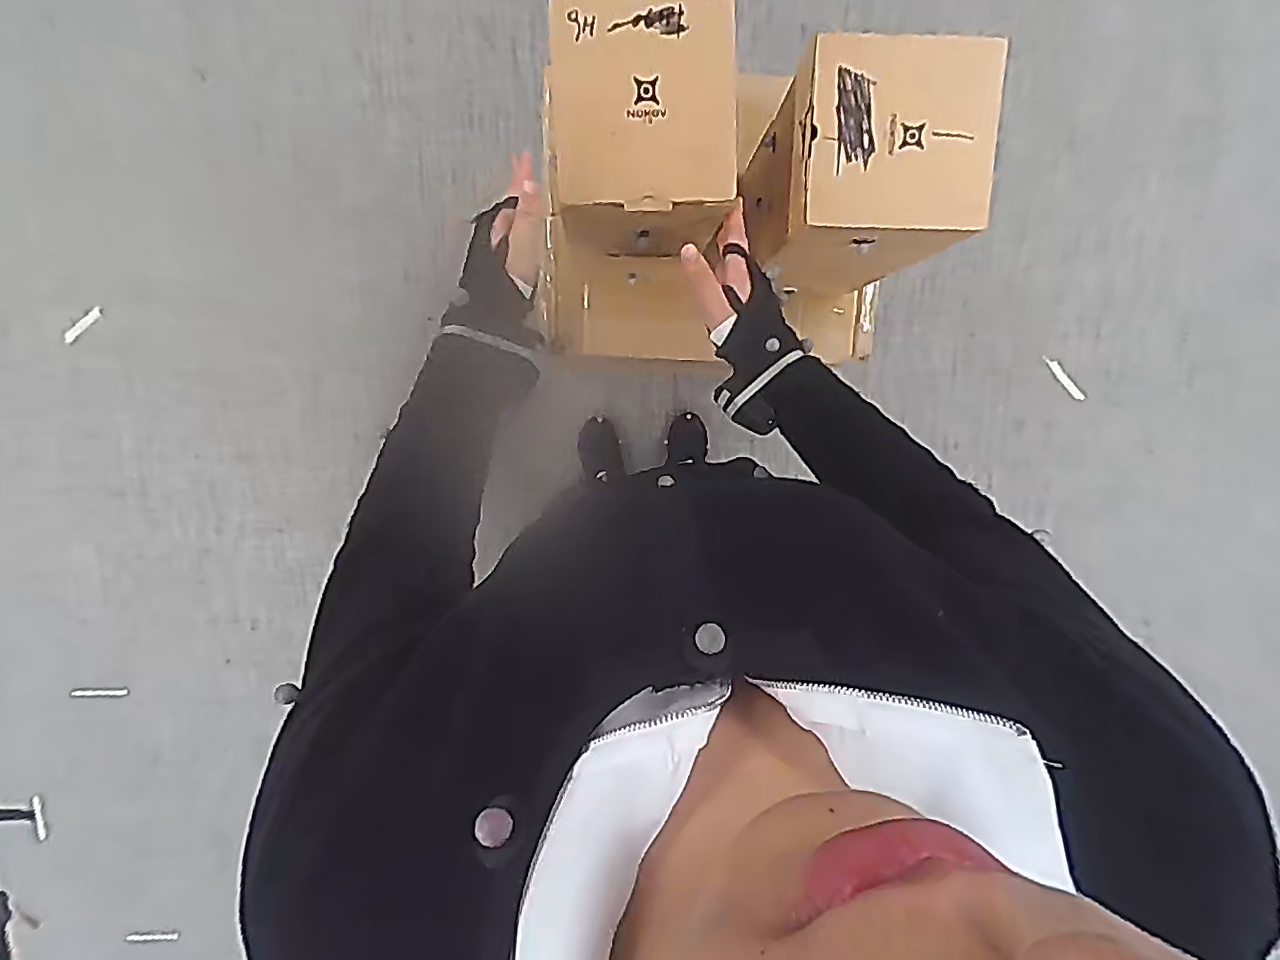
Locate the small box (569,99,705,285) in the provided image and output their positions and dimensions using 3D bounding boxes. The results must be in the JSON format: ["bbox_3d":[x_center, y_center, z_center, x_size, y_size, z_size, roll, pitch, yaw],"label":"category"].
[{"bbox_3d":[-0.009,-0.374,0.730,0.168,0.176,0.179,-1,99,-3],"label":"small box"}]

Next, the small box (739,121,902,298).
[{"bbox_3d":[0.234,-0.357,0.743,0.168,0.176,0.179,1,100,0],"label":"small box"}]
